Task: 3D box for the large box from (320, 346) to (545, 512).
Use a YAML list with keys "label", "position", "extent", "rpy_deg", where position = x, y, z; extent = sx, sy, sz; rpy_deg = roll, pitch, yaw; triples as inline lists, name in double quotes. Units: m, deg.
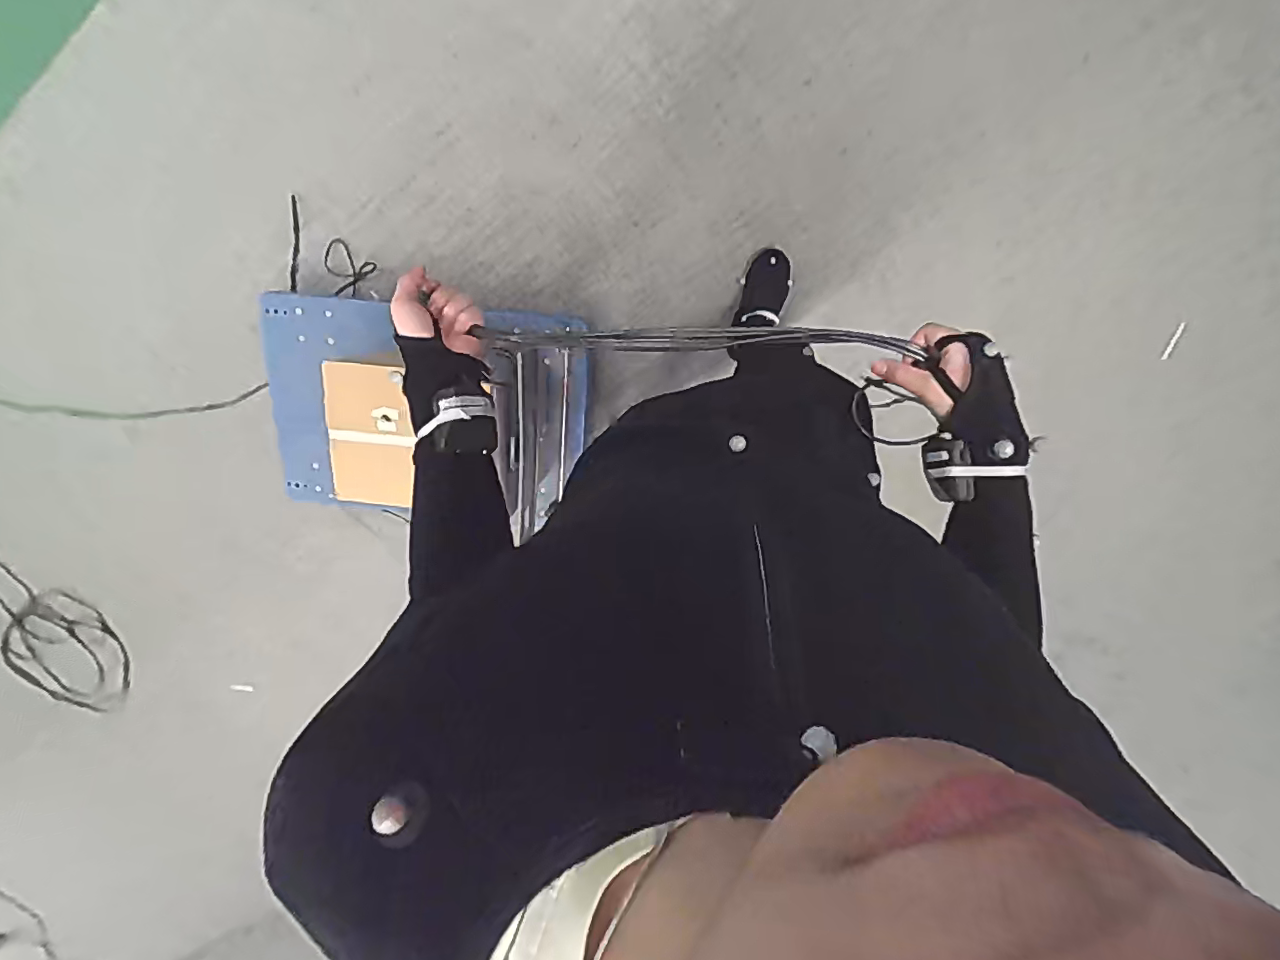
- label: "large box"
  position: [-0.460, -0.138, 1.288]
  extent: [0.408, 0.320, 0.320]
  rpy_deg: [7, 107, 4]
